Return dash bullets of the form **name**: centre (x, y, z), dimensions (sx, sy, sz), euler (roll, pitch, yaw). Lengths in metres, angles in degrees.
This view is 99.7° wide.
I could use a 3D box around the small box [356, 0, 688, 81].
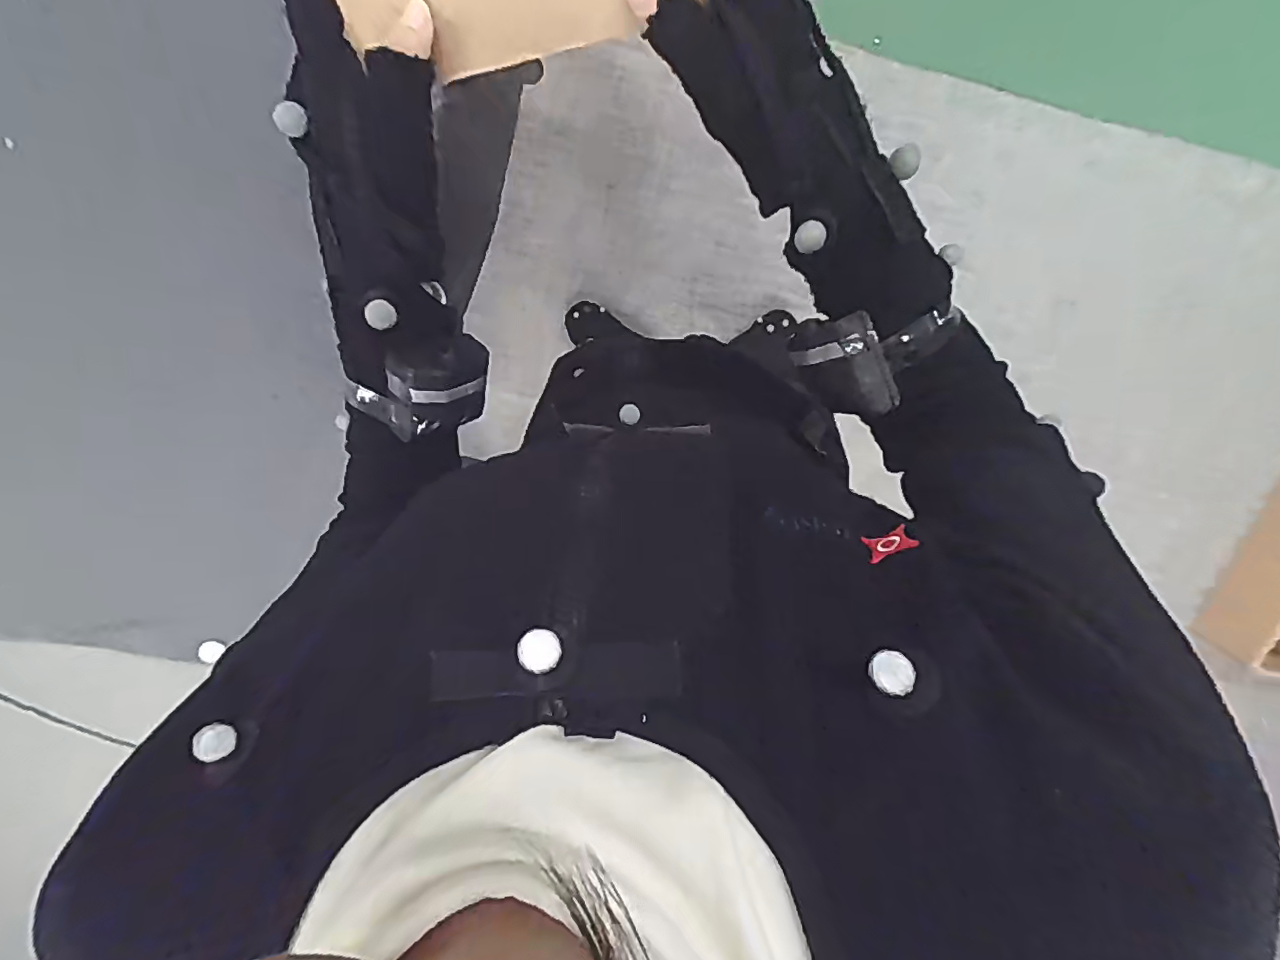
- **small box**: centre (-0.060, -0.328, 0.277), dimensions (0.179, 0.176, 0.168), euler (-10, 129, 8)
